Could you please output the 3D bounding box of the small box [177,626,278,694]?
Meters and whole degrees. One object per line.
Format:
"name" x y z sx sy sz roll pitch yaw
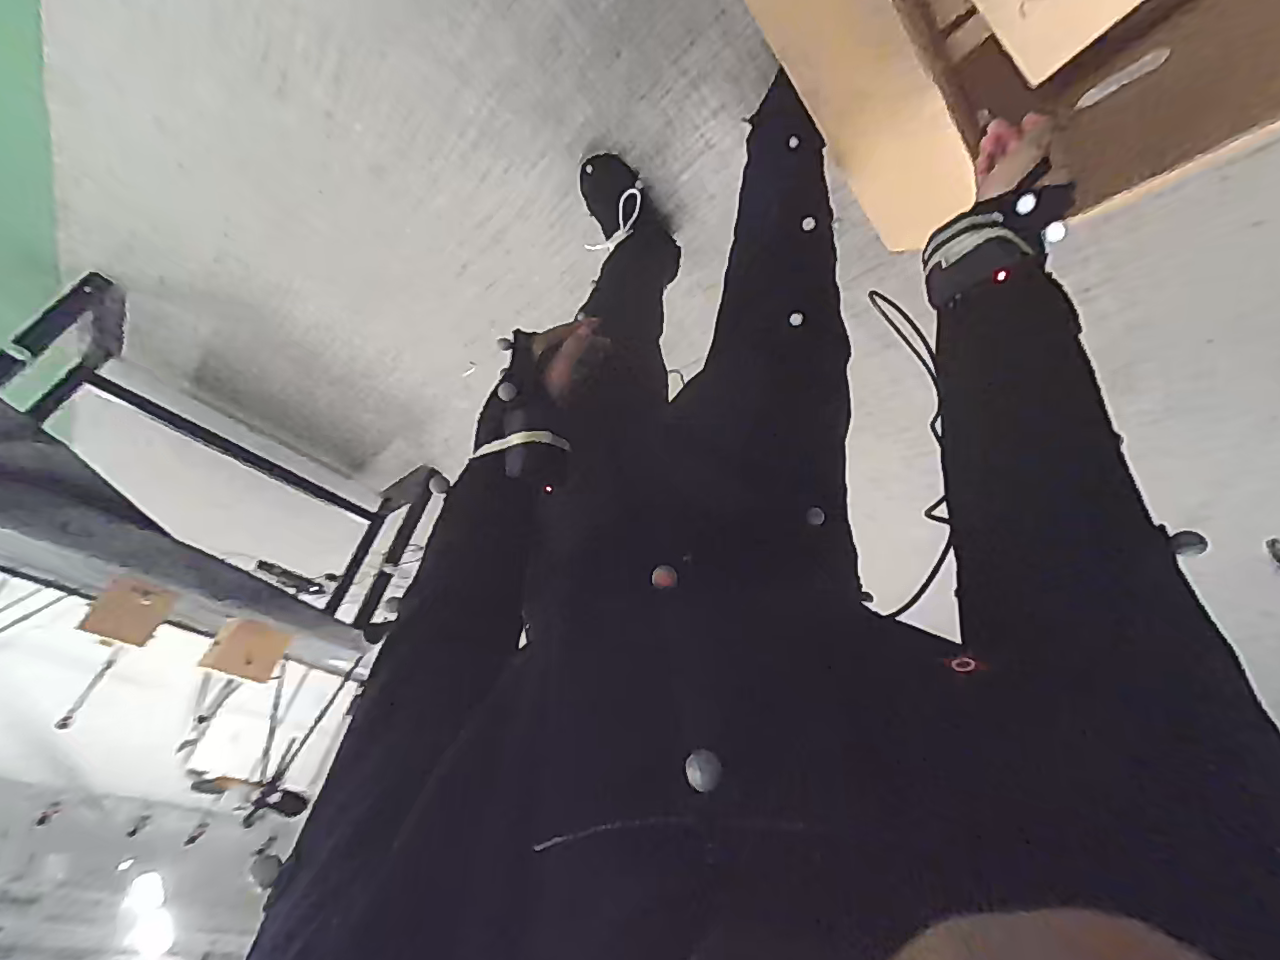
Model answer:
"small box" -1.311 0.572 1.726 0.168 0.176 0.179 -15 138 37

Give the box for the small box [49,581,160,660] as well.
"small box" -1.525 0.402 1.545 0.179 0.176 0.168 -19 136 40
